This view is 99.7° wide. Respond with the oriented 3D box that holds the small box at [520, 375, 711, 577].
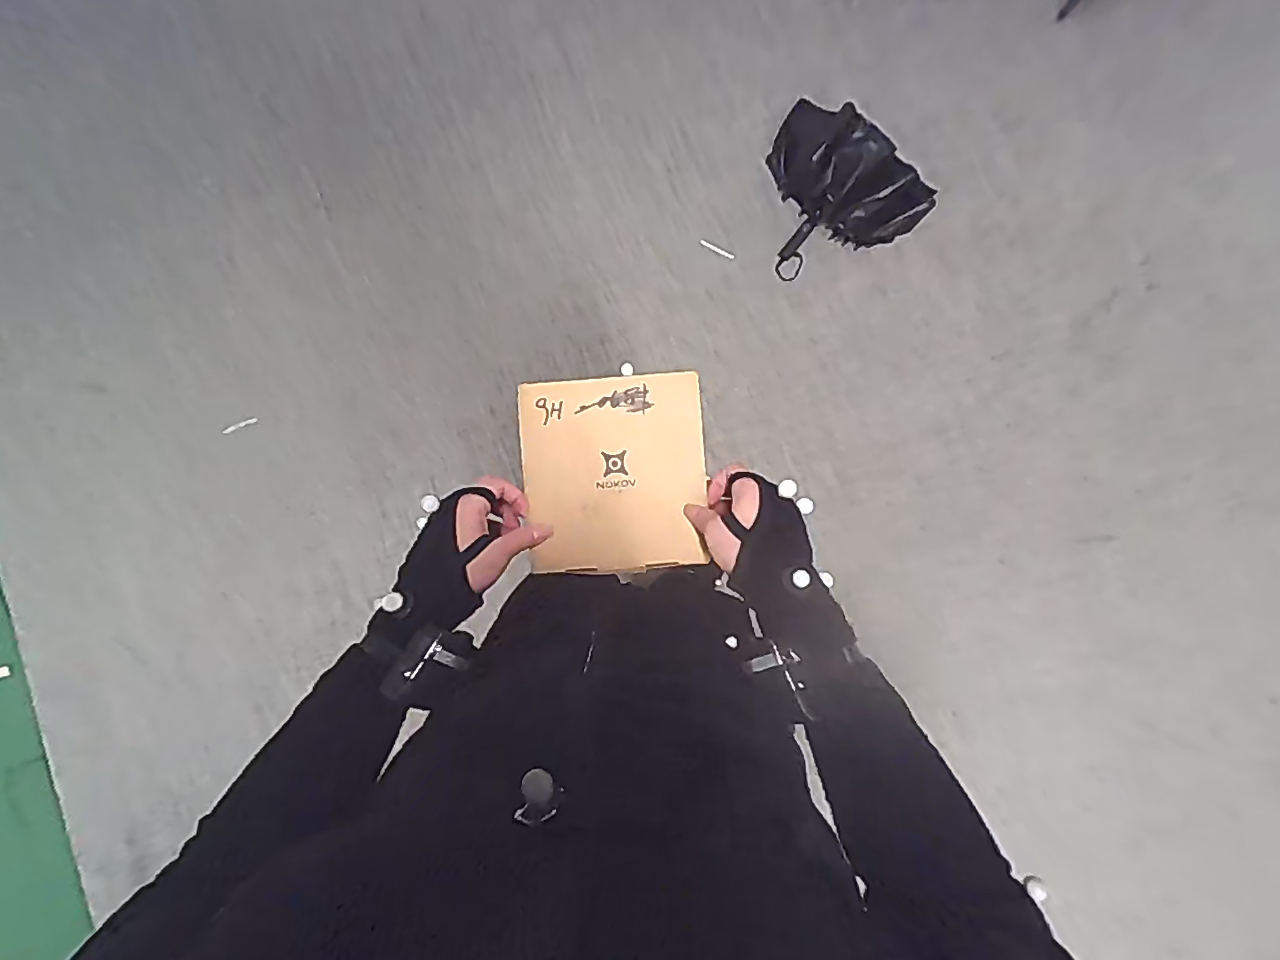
[{"bbox_3d":[-0.022,-0.007,0.564,0.168,0.176,0.179,-4,92,-1],"label":"small box"}]
